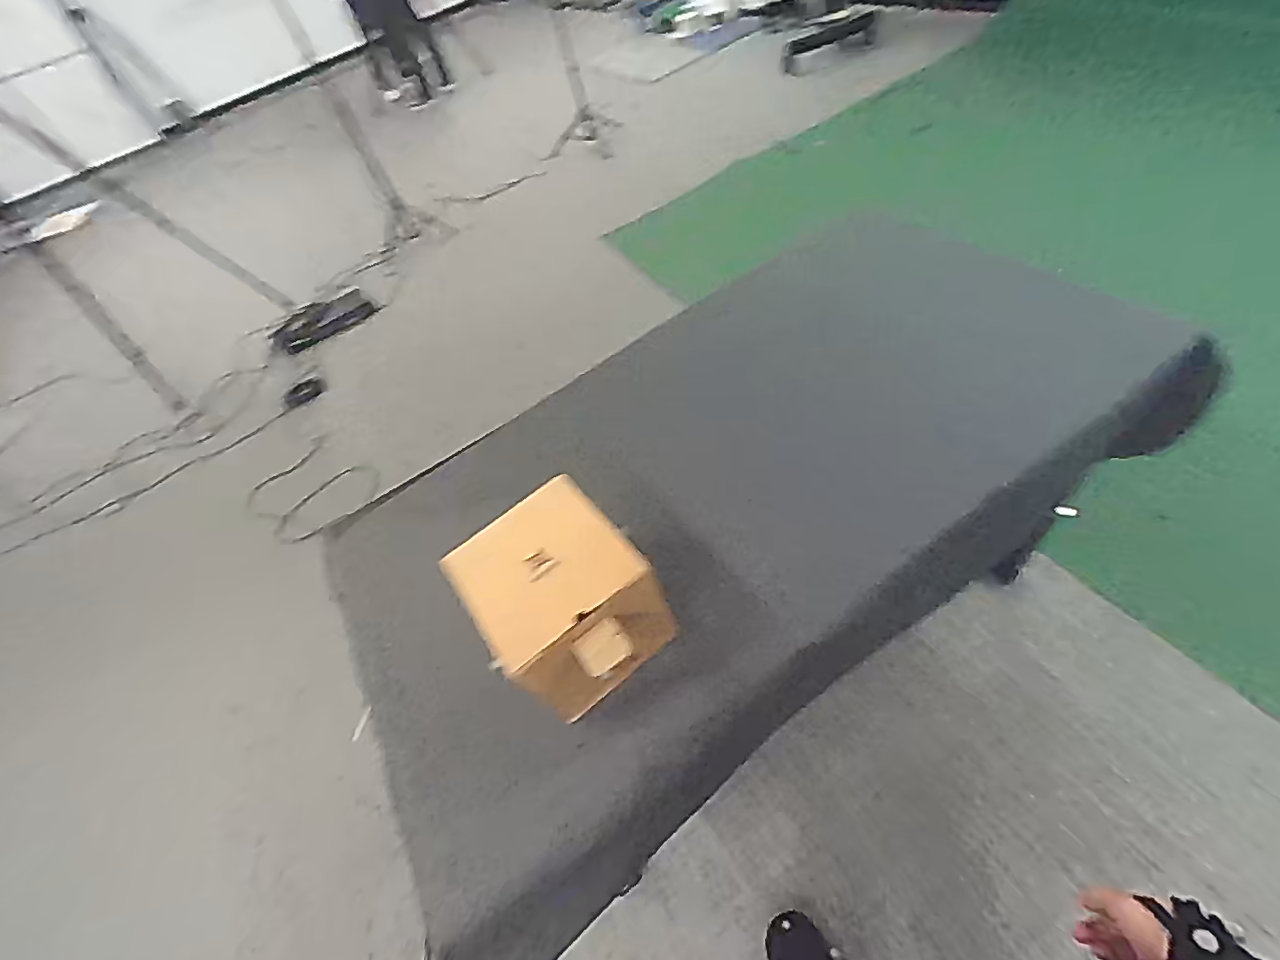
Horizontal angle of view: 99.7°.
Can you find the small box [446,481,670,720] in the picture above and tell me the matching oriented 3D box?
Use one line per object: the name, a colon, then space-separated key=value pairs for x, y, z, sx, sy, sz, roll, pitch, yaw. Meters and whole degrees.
small box: x=-0.087 y=0.141 z=0.627 sx=0.168 sy=0.176 sz=0.179 roll=-37 pitch=52 yaw=-15
